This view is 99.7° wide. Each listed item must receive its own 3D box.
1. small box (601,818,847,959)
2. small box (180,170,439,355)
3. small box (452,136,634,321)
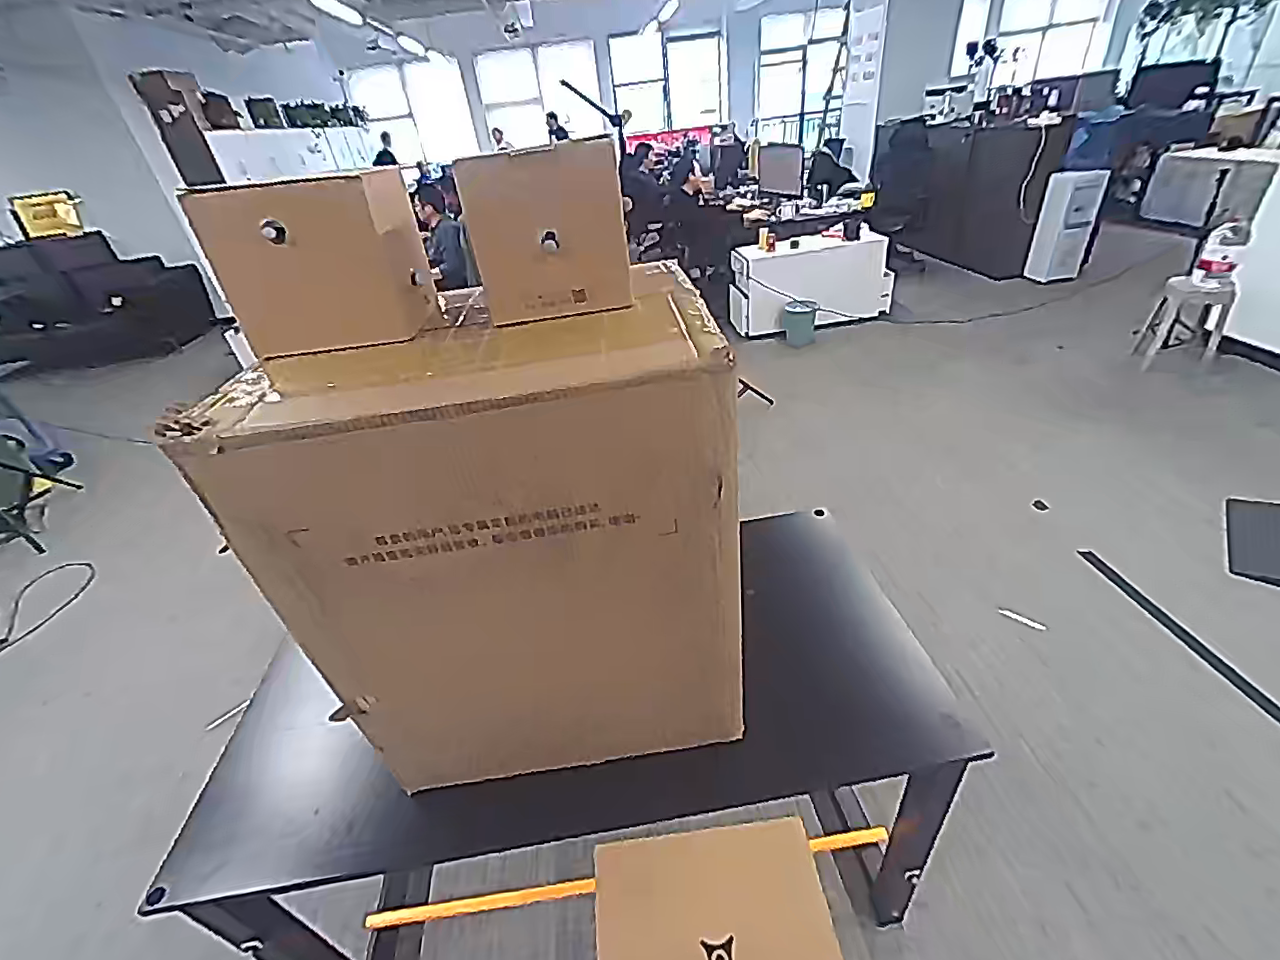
[{"bbox_3d":[0.062,0.389,0.403,0.168,0.176,0.179,-7,38,-1],"label":"small box"},{"bbox_3d":[-0.357,-0.254,0.629,0.179,0.176,0.168,-8,33,-3],"label":"small box"},{"bbox_3d":[-0.103,-0.296,0.643,0.168,0.176,0.179,-9,33,-1],"label":"small box"}]
